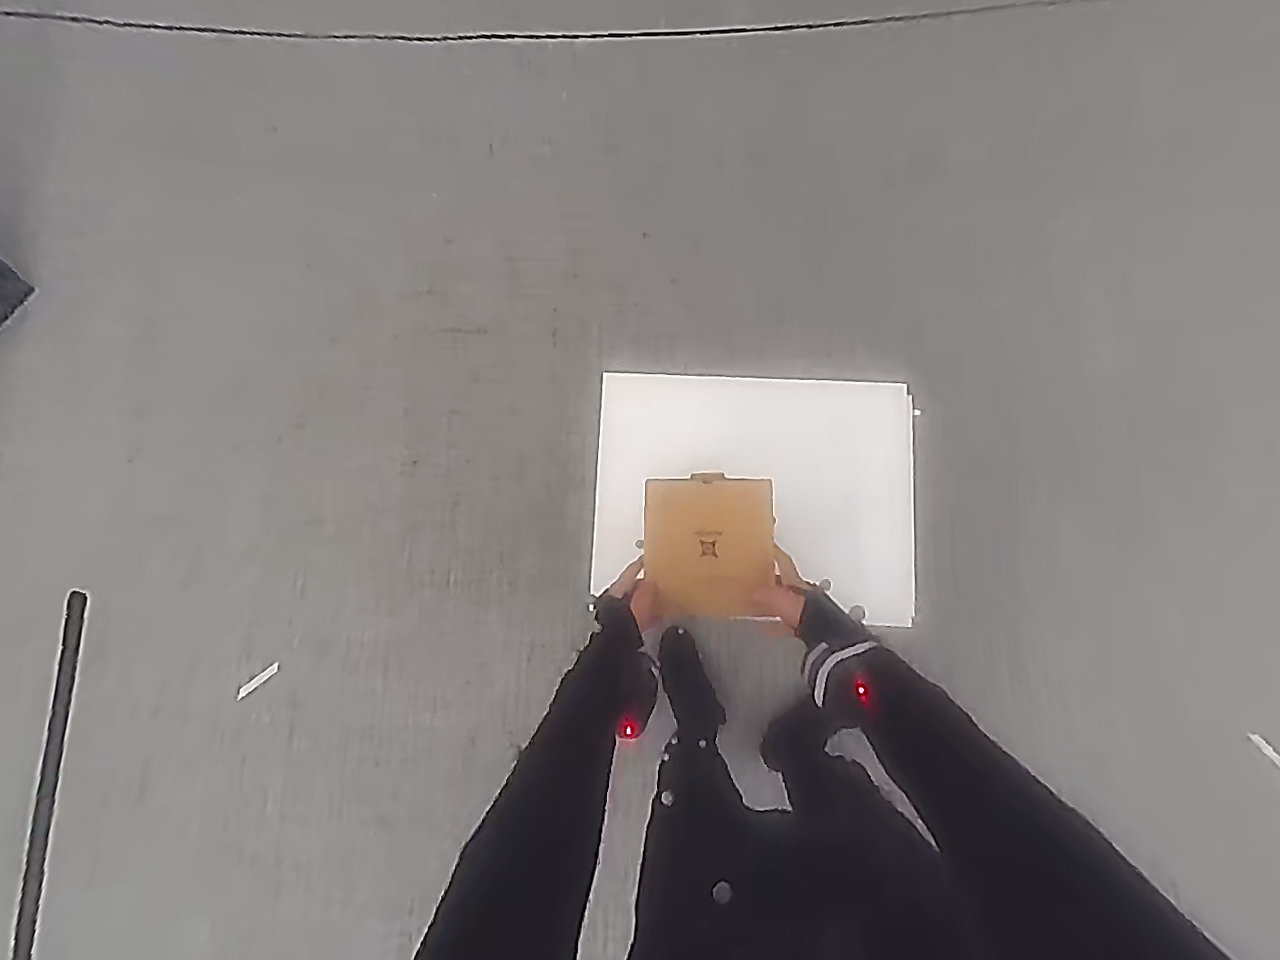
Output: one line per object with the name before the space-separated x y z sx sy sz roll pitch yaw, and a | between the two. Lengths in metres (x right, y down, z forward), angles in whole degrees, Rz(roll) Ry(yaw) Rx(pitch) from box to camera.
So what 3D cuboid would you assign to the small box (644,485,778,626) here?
small box | 0.093 0.111 0.755 0.168 0.176 0.179 0 77 4
